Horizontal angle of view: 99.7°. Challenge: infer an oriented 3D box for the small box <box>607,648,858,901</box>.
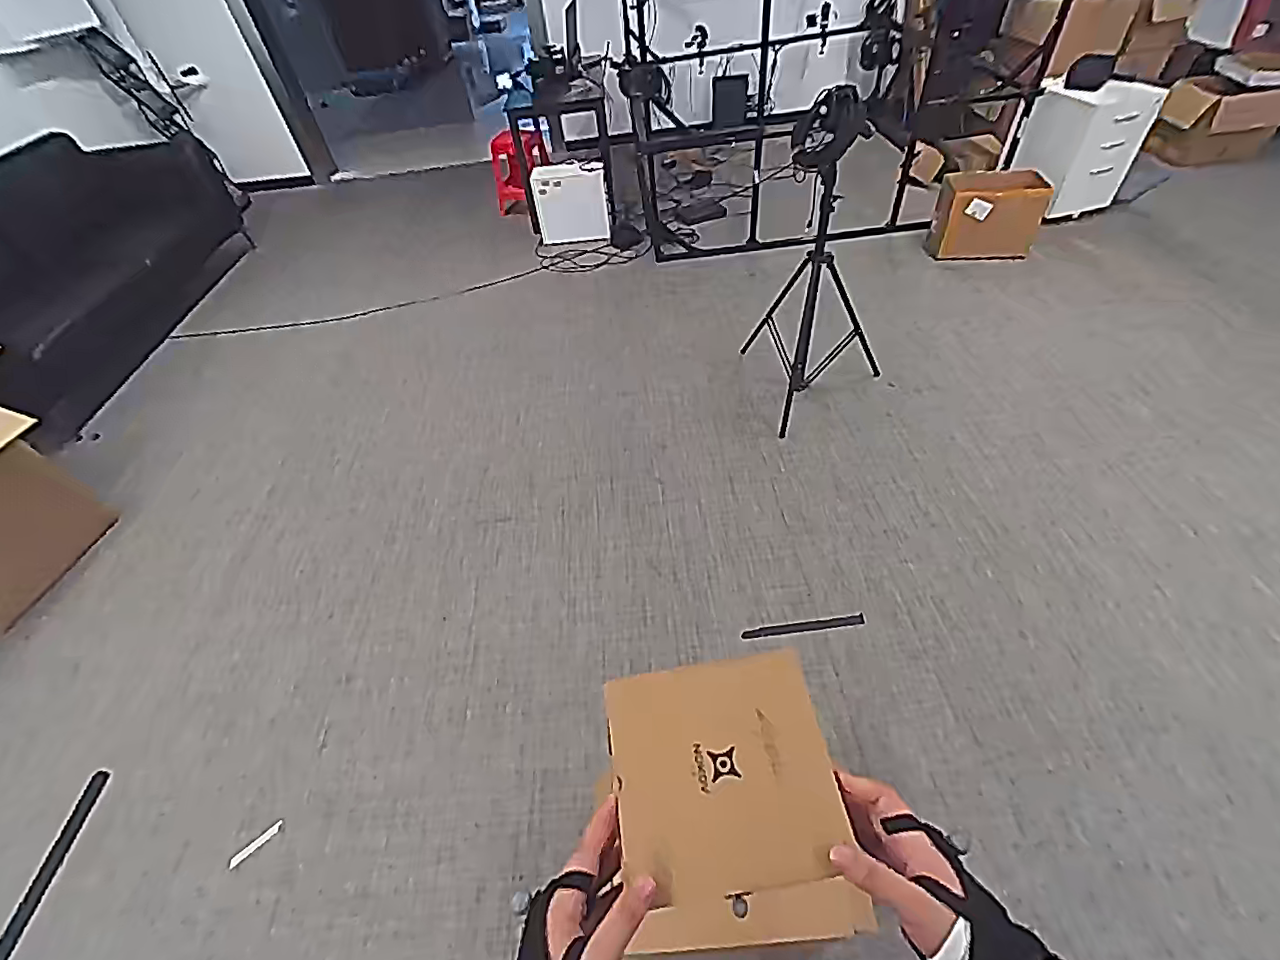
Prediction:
[{"bbox_3d":[0.074,0.279,0.508,0.179,0.176,0.168,-10,54,-2],"label":"small box"}]
